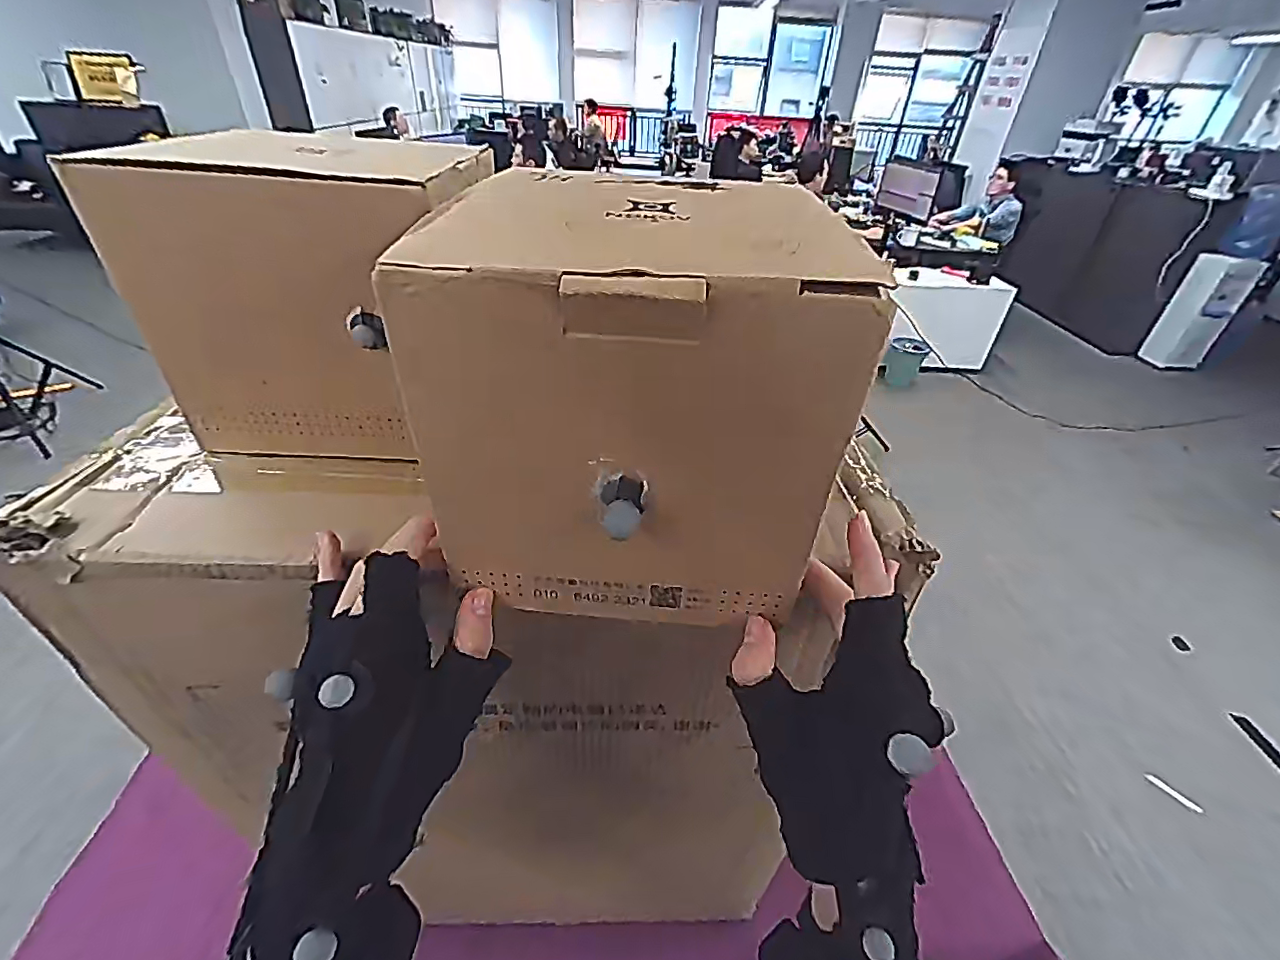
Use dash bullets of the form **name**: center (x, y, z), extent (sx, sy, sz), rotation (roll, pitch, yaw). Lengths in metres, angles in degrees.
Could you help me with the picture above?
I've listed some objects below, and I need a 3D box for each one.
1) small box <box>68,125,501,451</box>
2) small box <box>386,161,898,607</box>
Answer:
- **small box**: center (-0.188, -0.131, 0.368), extent (0.179, 0.176, 0.168), rotation (1, 36, -3)
- **small box**: center (0.004, -0.054, 0.282), extent (0.168, 0.176, 0.179), rotation (4, 39, 2)
